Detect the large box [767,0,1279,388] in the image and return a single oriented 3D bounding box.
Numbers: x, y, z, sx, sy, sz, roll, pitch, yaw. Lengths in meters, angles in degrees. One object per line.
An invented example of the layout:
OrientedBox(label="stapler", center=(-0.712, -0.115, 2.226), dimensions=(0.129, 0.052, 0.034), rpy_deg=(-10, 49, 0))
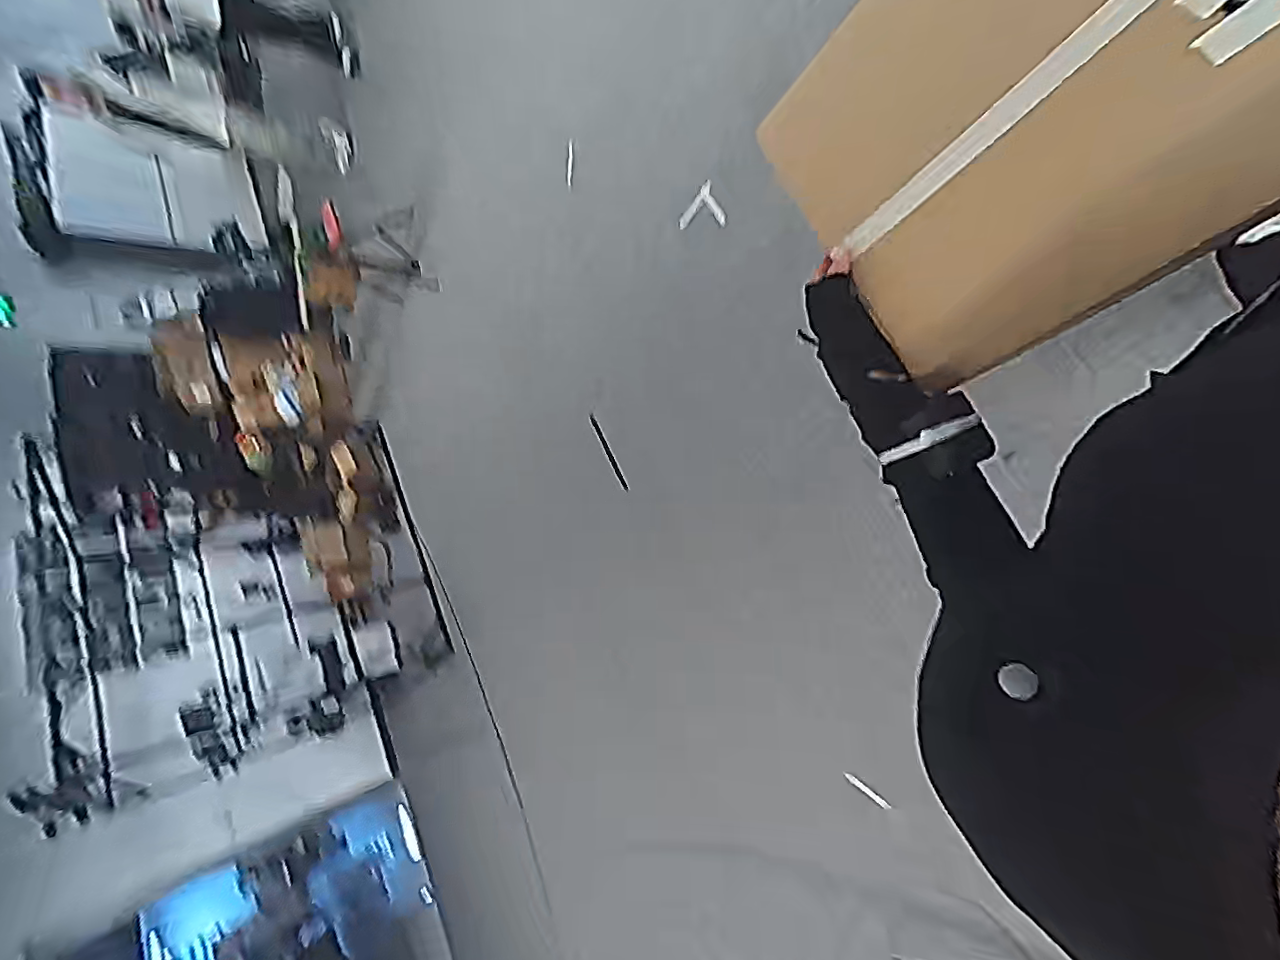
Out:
OrientedBox(label="large box", center=(0.406, -0.334, 0.488), dimensions=(0.408, 0.320, 0.320), rpy_deg=(-38, 78, 44))
